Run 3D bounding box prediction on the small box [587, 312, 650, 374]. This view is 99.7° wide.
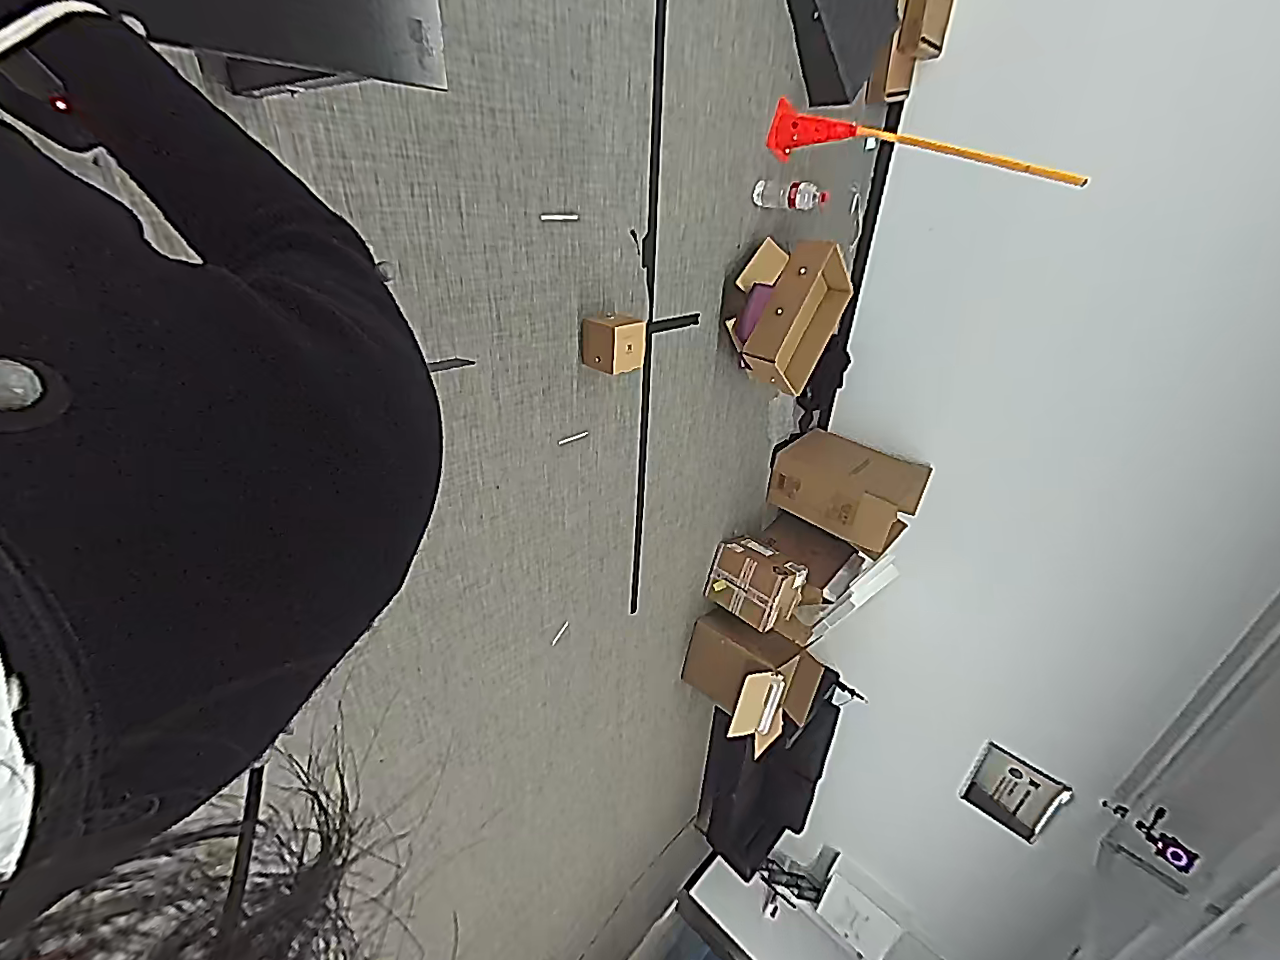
[{"bbox_3d":[-0.082,-0.512,2.005,0.168,0.176,0.179,-26,130,-40],"label":"small box"}]
